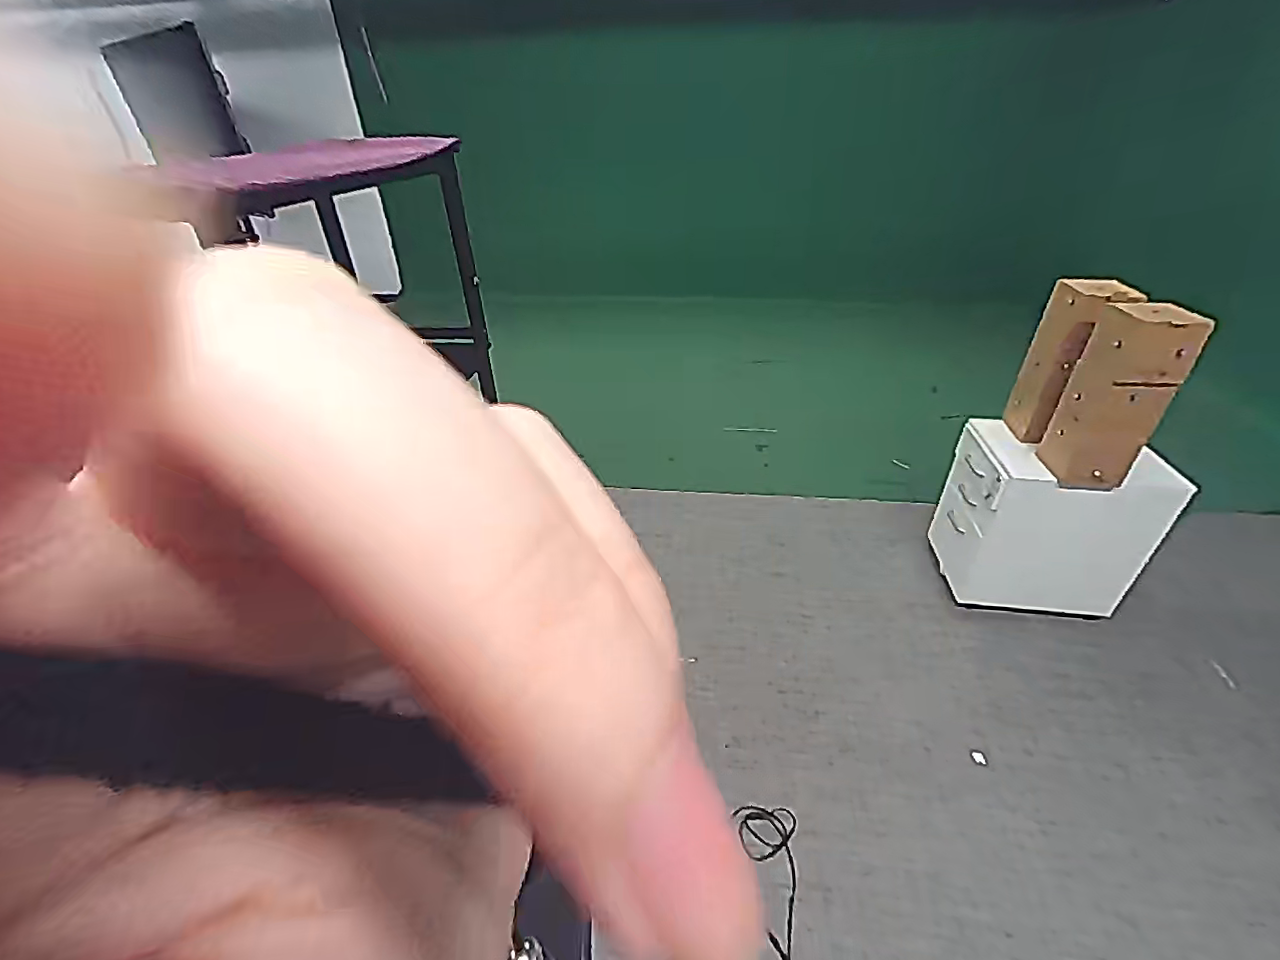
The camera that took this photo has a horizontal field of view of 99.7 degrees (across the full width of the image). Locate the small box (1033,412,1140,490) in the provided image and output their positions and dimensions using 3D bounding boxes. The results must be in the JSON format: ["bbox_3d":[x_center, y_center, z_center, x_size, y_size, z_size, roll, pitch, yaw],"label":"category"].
[{"bbox_3d":[1.350,-0.092,1.654,0.168,0.176,0.179,4,34,8],"label":"small box"}]

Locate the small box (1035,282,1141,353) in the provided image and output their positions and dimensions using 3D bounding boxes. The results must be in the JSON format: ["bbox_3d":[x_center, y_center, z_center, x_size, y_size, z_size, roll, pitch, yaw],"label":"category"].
[{"bbox_3d":[1.369,-0.500,1.670,0.168,0.176,0.179,5,36,7],"label":"small box"}]

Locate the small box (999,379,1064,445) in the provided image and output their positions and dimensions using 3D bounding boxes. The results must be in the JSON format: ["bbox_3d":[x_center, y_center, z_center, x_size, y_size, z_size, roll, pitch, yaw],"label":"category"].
[{"bbox_3d":[1.374,-0.231,1.856,0.168,0.176,0.179,4,36,8],"label":"small box"}]

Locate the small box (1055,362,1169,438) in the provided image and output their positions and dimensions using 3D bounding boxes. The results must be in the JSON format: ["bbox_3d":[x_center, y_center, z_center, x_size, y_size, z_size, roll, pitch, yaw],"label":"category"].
[{"bbox_3d":[1.352,-0.233,1.567,0.179,0.176,0.168,3,35,5],"label":"small box"}]

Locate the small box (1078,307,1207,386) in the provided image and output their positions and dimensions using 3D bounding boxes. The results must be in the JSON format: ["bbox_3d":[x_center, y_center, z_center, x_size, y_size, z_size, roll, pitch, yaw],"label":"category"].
[{"bbox_3d":[1.350,-0.363,1.469,0.168,0.176,0.179,4,33,7],"label":"small box"}]
